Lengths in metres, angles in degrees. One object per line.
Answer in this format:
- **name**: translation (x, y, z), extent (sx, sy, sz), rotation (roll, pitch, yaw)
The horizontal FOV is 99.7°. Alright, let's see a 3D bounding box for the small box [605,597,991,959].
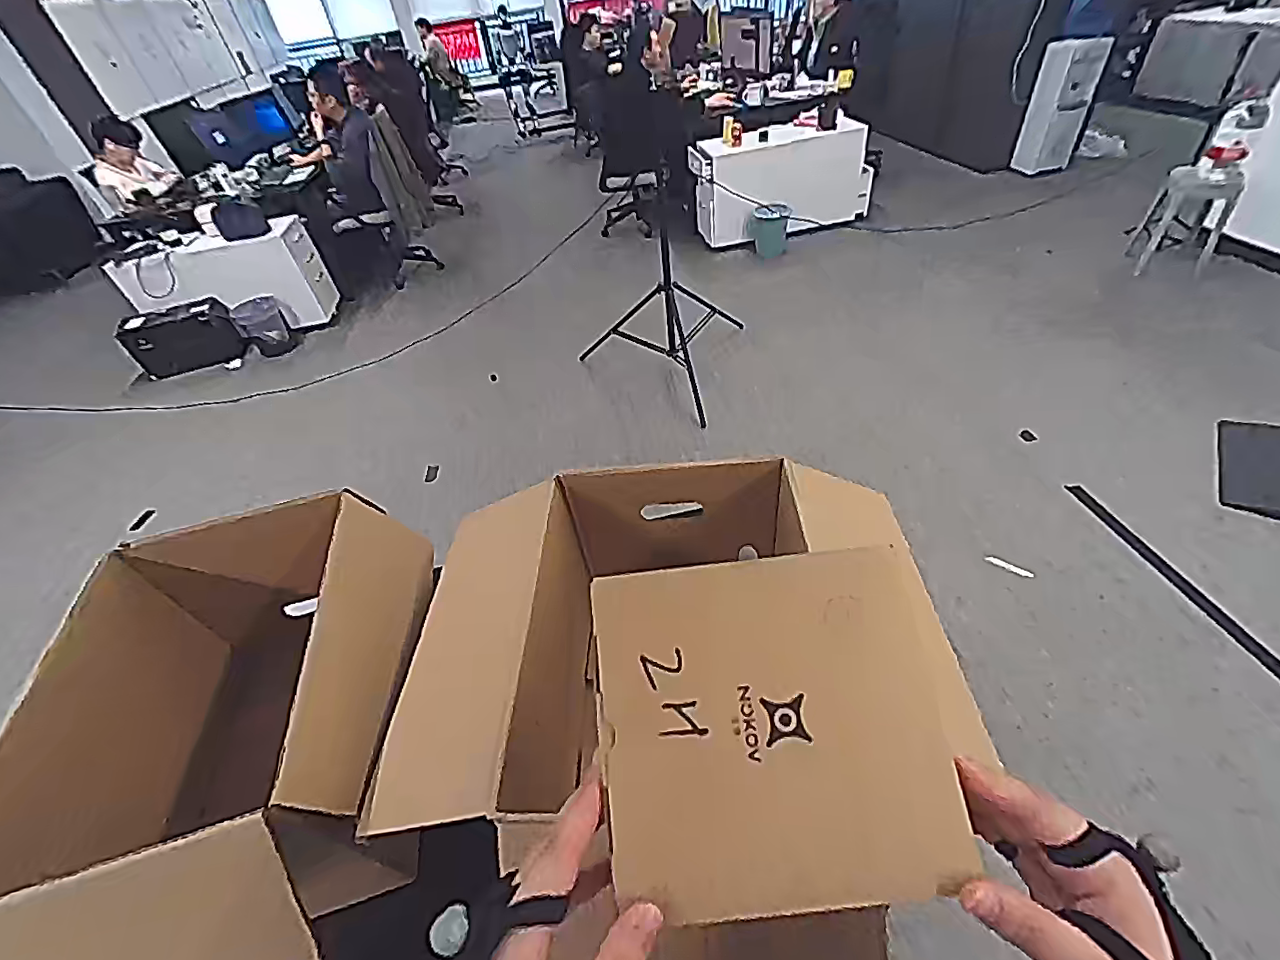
- **small box**: translation (0.076, 0.174, 0.354), extent (0.179, 0.176, 0.168), rotation (-6, 70, 2)
